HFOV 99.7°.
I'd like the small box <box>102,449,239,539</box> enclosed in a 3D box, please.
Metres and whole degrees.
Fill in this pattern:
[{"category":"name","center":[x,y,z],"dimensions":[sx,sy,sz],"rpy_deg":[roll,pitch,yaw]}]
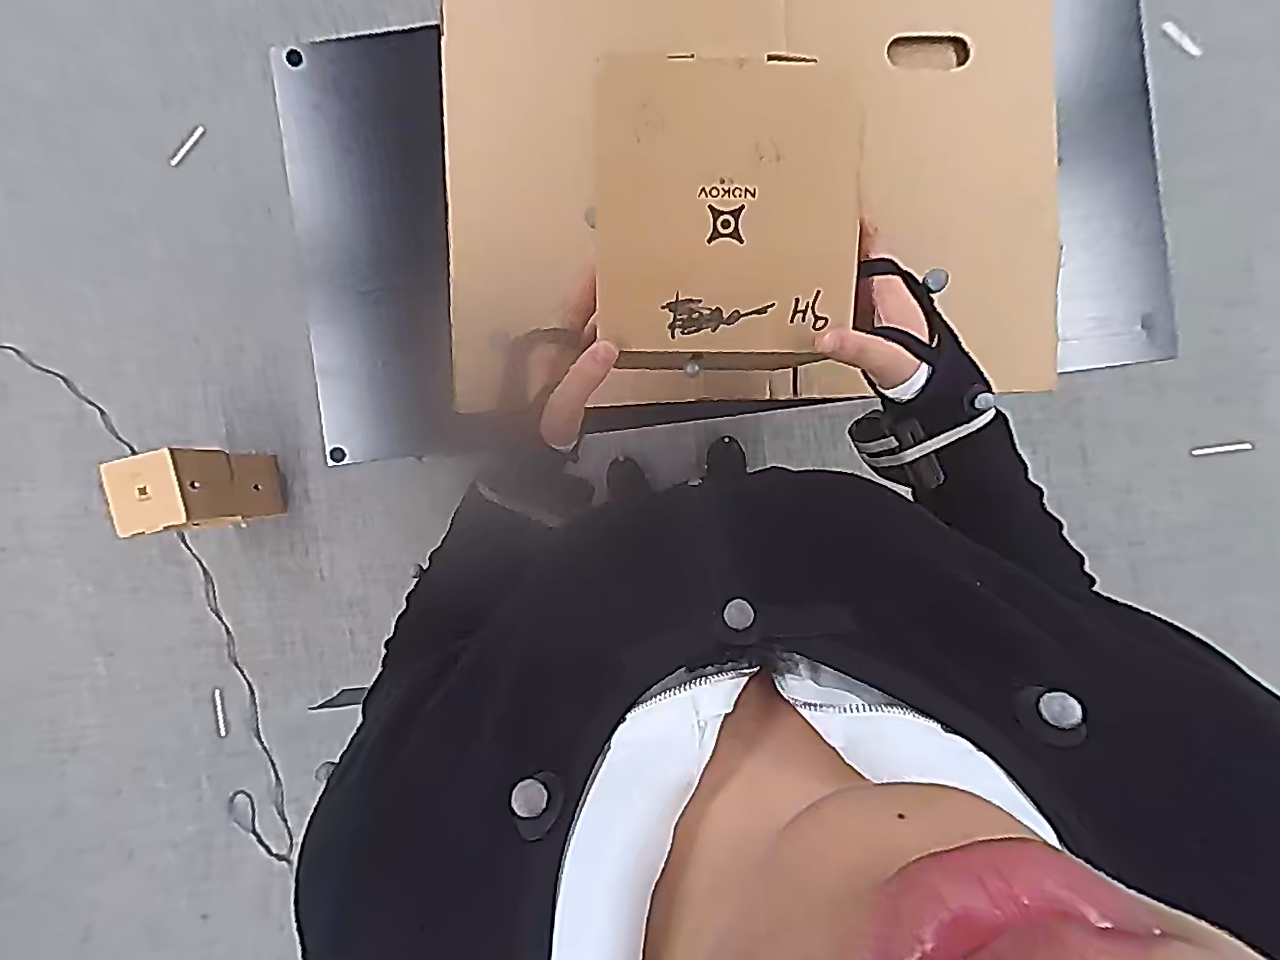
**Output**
[{"category":"small box","center":[-1.108,0.030,1.293],"dimensions":[0.168,0.176,0.179],"rpy_deg":[-14,90,1]}]

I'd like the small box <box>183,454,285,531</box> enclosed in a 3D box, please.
[{"category":"small box","center":[-1.101,0.032,1.455],"dimensions":[0.168,0.176,0.179],"rpy_deg":[-11,92,2]}]

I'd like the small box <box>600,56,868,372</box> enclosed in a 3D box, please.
[{"category":"small box","center":[0.055,-0.178,0.416],"dimensions":[0.168,0.176,0.179],"rpy_deg":[0,99,0]}]
